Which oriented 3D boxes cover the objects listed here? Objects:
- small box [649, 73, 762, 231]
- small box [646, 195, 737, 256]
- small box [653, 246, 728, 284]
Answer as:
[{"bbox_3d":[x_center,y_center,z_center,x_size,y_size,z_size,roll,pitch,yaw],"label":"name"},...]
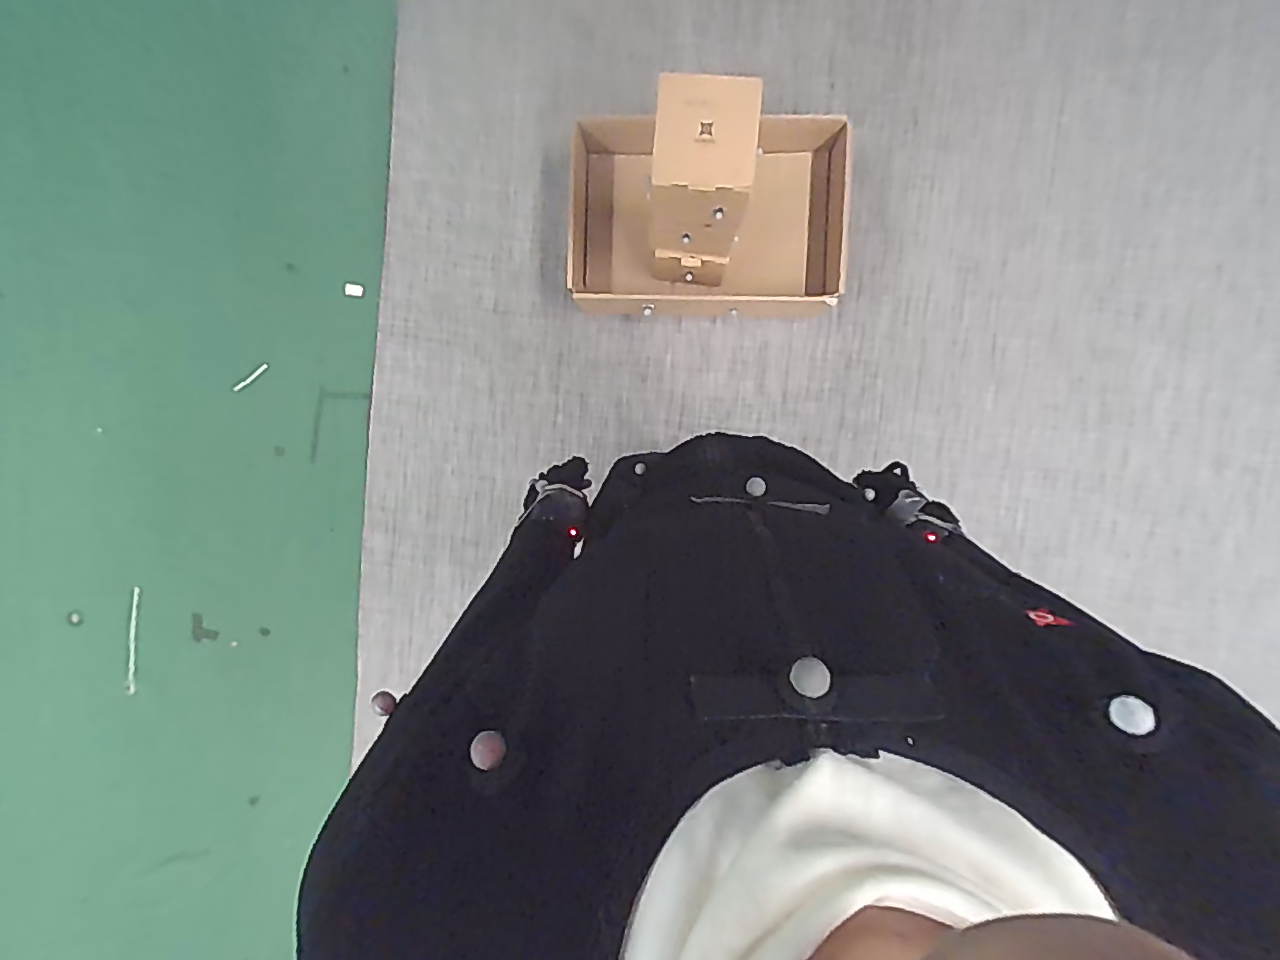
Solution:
[{"bbox_3d":[0.107,-0.554,0.936,0.168,0.176,0.179,5,92,1],"label":"small box"},{"bbox_3d":[0.115,-0.573,1.097,0.179,0.176,0.168,11,93,3],"label":"small box"},{"bbox_3d":[0.126,-0.573,1.262,0.168,0.176,0.179,8,95,2],"label":"small box"}]
